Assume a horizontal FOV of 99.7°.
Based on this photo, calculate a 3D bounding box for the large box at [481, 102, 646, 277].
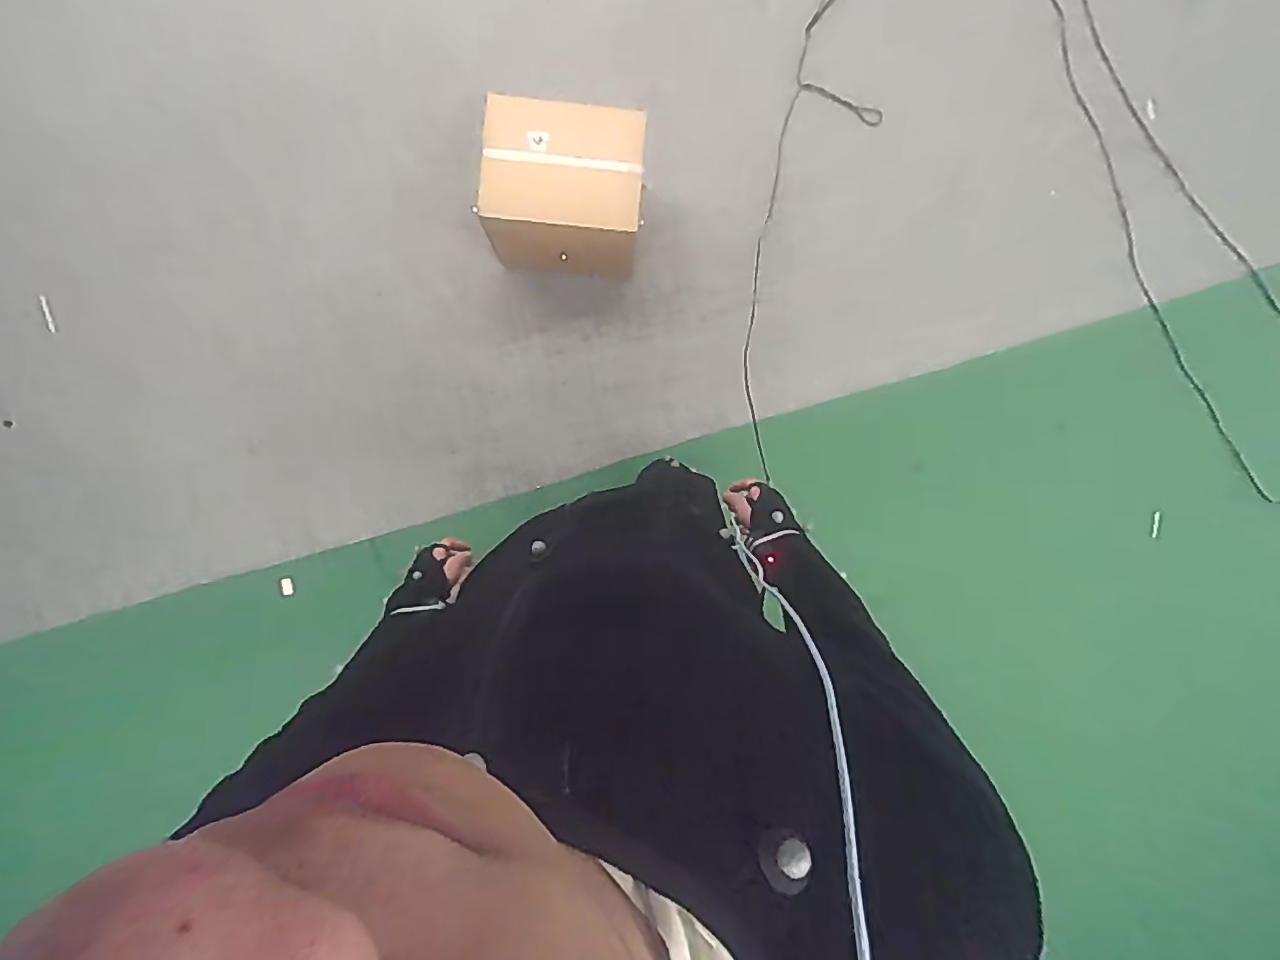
[{"bbox_3d":[-0.193,-0.783,1.507,0.408,0.320,0.320,5,88,-2],"label":"large box"}]
